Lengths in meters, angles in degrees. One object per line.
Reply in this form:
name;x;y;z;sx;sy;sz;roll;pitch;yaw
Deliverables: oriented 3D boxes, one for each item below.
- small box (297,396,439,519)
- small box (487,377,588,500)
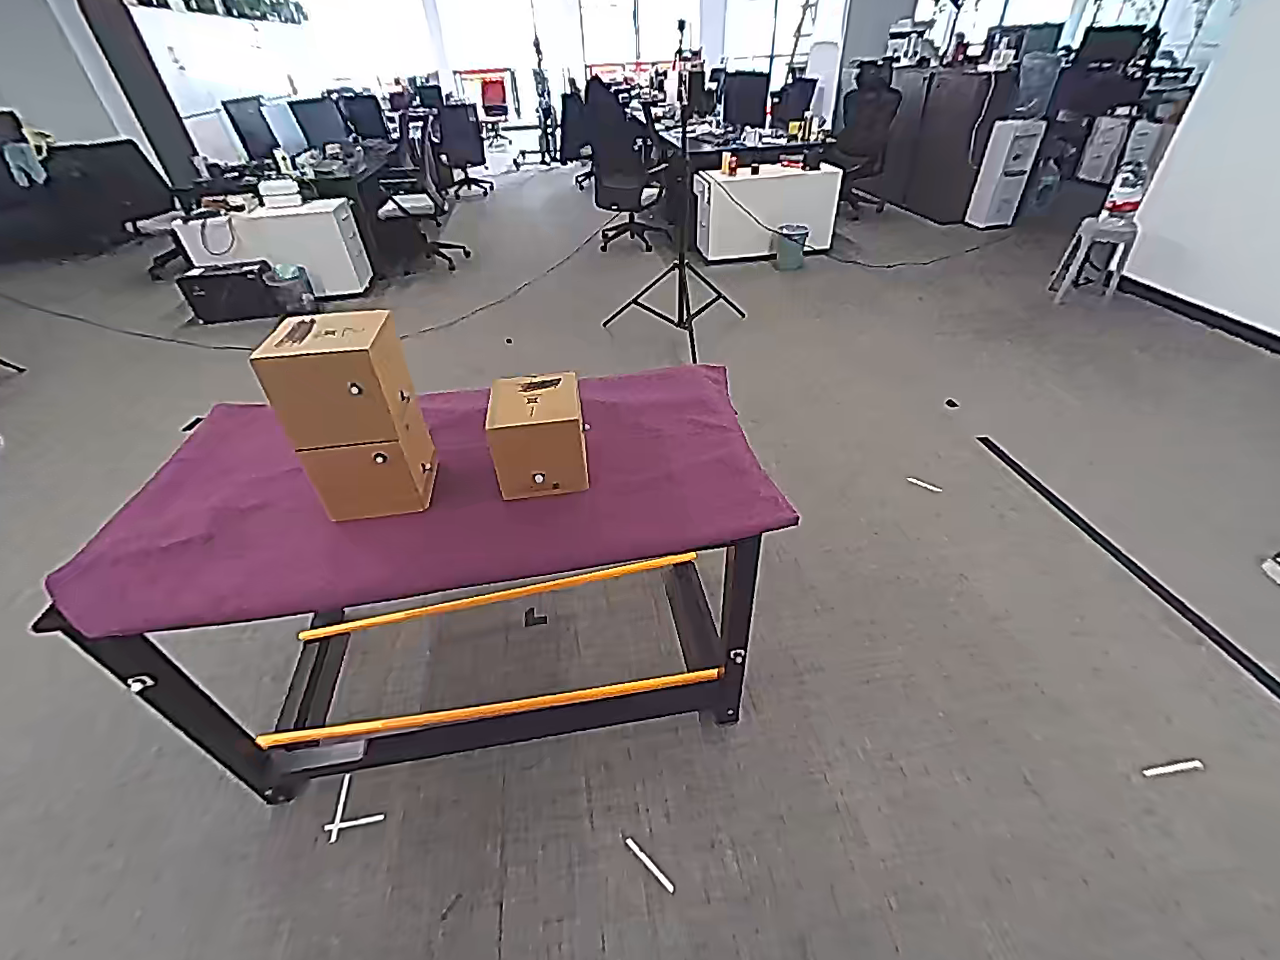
small box;-0.504;-0.040;1.029;0.179;0.176;0.168;-7;38;-6
small box;-0.194;-0.083;1.061;0.168;0.176;0.179;-6;39;-4
